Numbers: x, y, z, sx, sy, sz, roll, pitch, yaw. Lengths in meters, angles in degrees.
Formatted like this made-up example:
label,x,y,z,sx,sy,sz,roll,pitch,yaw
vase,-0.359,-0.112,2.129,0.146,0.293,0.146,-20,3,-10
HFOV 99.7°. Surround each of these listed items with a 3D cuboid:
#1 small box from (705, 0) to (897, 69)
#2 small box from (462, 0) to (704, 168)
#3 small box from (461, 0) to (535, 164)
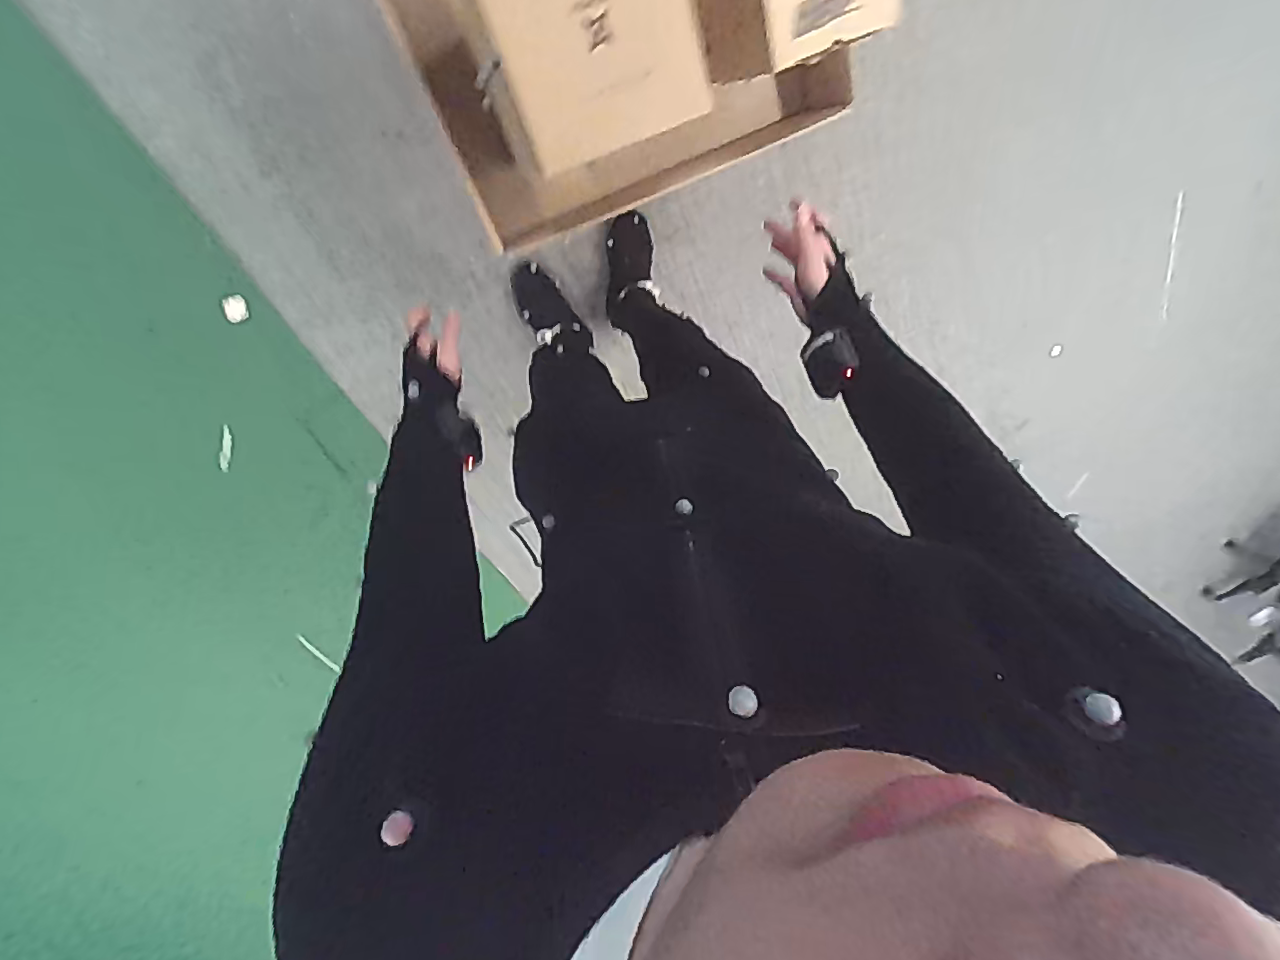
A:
label,x,y,z,sx,sy,sz,roll,pitch,yaw
small box,0.178,-0.620,0.643,0.168,0.176,0.179,-24,124,-2
small box,-0.061,-0.412,0.503,0.168,0.176,0.179,-23,124,0
small box,-0.101,-0.494,0.638,0.168,0.176,0.179,-22,124,-1
